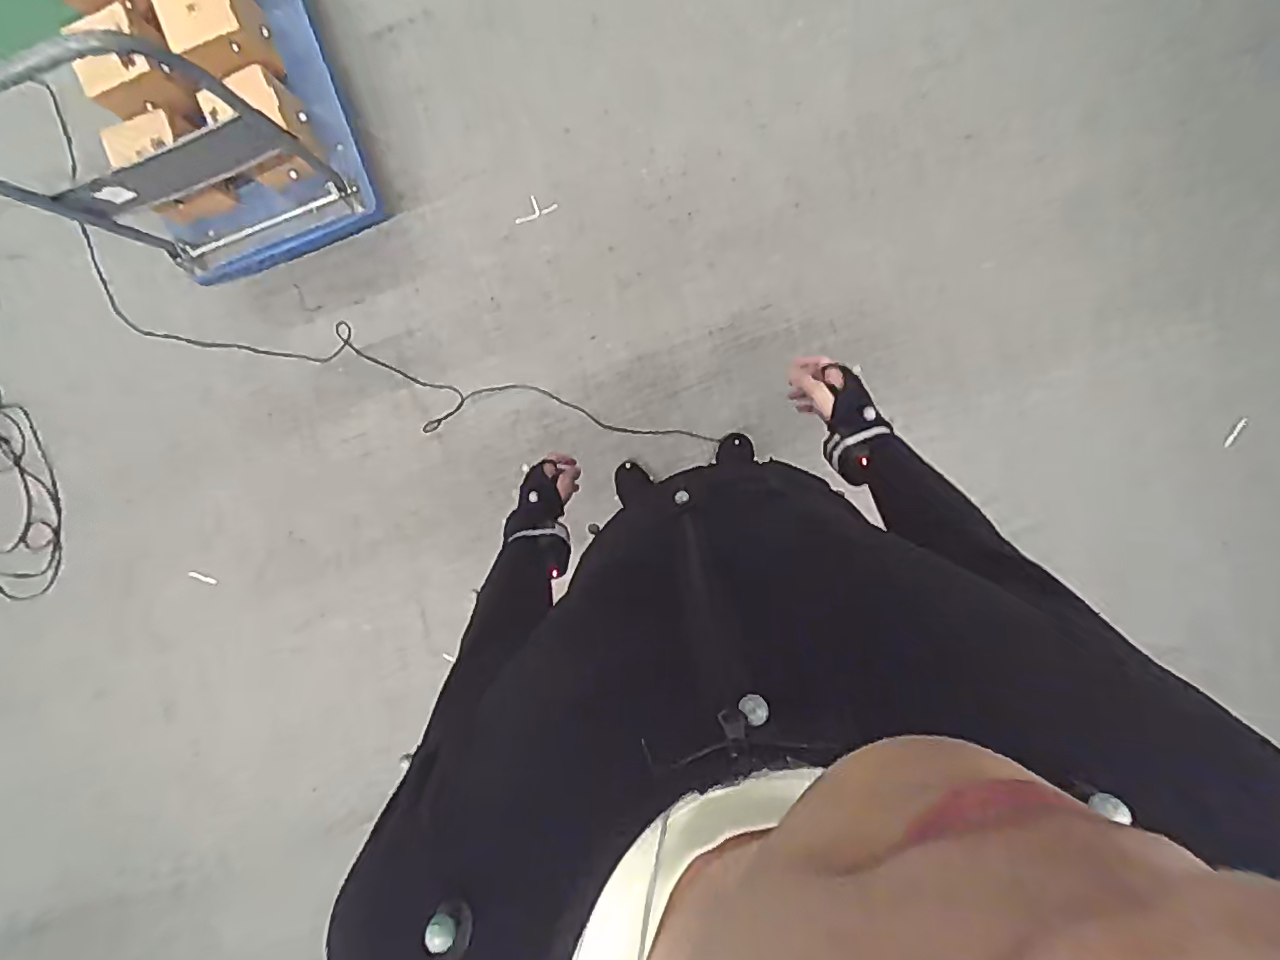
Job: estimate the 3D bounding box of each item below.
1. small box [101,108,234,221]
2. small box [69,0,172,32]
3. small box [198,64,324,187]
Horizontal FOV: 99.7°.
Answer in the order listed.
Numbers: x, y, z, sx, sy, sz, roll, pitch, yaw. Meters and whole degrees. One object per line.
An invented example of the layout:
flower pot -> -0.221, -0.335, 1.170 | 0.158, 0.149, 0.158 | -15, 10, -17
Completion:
small box -> -1.178, -0.788, 1.368 | 0.179, 0.176, 0.168 | -17, 93, 4
small box -> -1.321, -1.262, 1.337 | 0.168, 0.176, 0.179 | -16, 94, 2
small box -> -0.929, -0.874, 1.351 | 0.179, 0.176, 0.168 | -21, 93, 3
